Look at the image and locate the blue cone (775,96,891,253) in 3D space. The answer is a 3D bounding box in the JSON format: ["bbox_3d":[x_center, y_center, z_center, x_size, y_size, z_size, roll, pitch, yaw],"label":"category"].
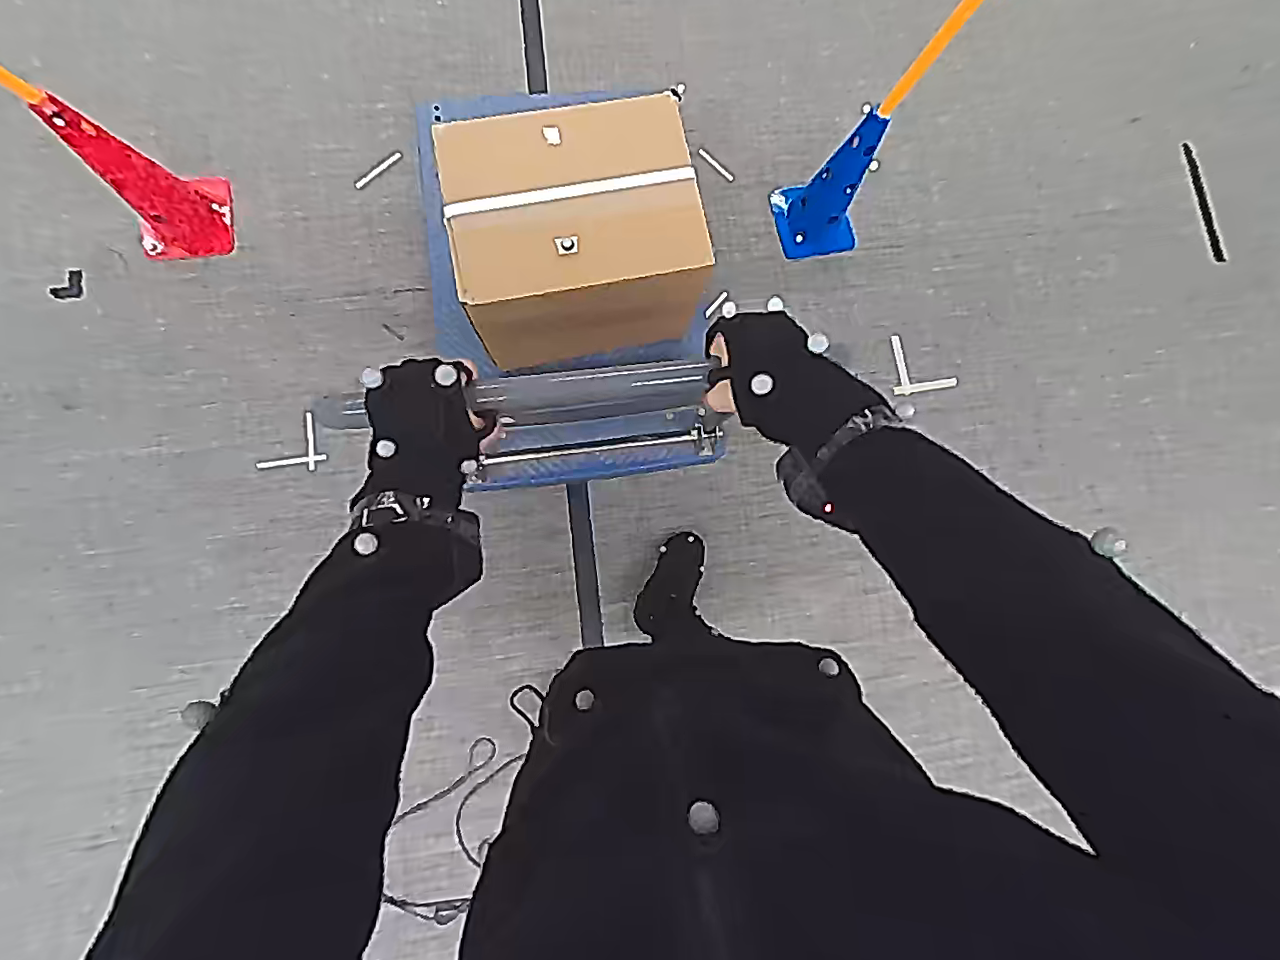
[{"bbox_3d":[0.474,-0.714,1.258,0.193,0.380,0.192,-10,83,-6],"label":"blue cone"}]
